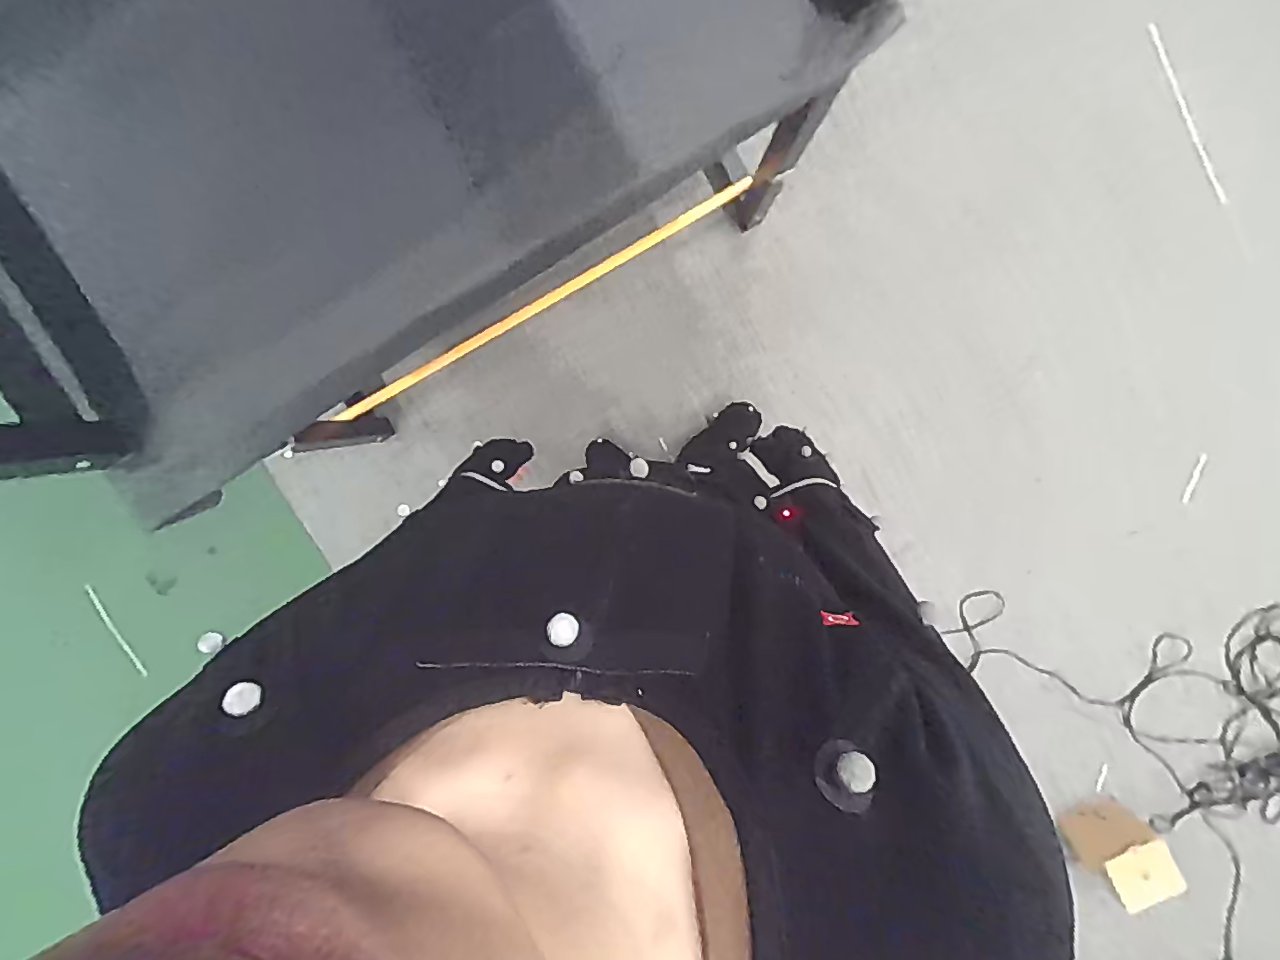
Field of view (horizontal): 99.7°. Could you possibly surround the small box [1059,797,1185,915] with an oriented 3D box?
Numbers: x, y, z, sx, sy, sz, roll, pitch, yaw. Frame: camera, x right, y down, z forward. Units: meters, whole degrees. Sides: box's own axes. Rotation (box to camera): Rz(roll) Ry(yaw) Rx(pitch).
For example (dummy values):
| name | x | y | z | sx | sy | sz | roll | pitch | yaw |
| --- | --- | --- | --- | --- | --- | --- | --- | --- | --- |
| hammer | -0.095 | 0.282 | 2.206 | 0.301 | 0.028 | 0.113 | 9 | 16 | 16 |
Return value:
| name | x | y | z | sx | sy | sz | roll | pitch | yaw |
| --- | --- | --- | --- | --- | --- | --- | --- | --- | --- |
| small box | 1.327 | 1.035 | 1.500 | 0.168 | 0.176 | 0.179 | -29 | 95 | 4 |
